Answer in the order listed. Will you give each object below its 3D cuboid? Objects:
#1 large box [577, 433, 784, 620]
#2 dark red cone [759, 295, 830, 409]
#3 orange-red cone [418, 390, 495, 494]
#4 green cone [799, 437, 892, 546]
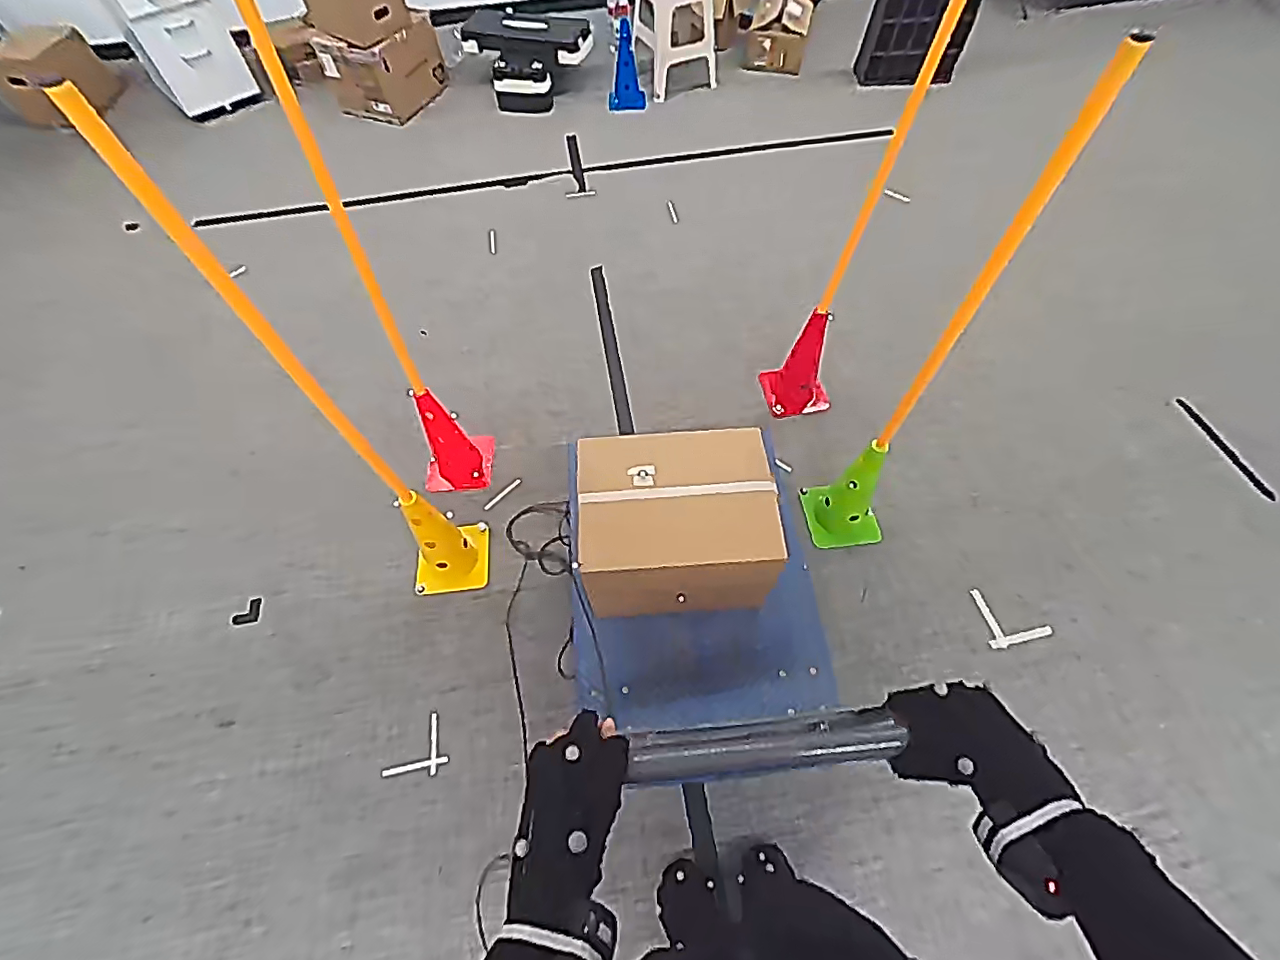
[{"bbox_3d":[0.078,0.118,1.244,0.408,0.320,0.320,-5,59,0],"label":"large box"},{"bbox_3d":[0.521,-0.408,1.697,0.201,0.394,0.202,-9,59,-5],"label":"dark red cone"},{"bbox_3d":[-0.575,-0.134,1.594,0.198,0.360,0.199,-3,57,-1],"label":"orange-red cone"},{"bbox_3d":[0.587,0.009,1.459,0.202,0.368,0.200,-6,58,-3],"label":"green cone"}]
